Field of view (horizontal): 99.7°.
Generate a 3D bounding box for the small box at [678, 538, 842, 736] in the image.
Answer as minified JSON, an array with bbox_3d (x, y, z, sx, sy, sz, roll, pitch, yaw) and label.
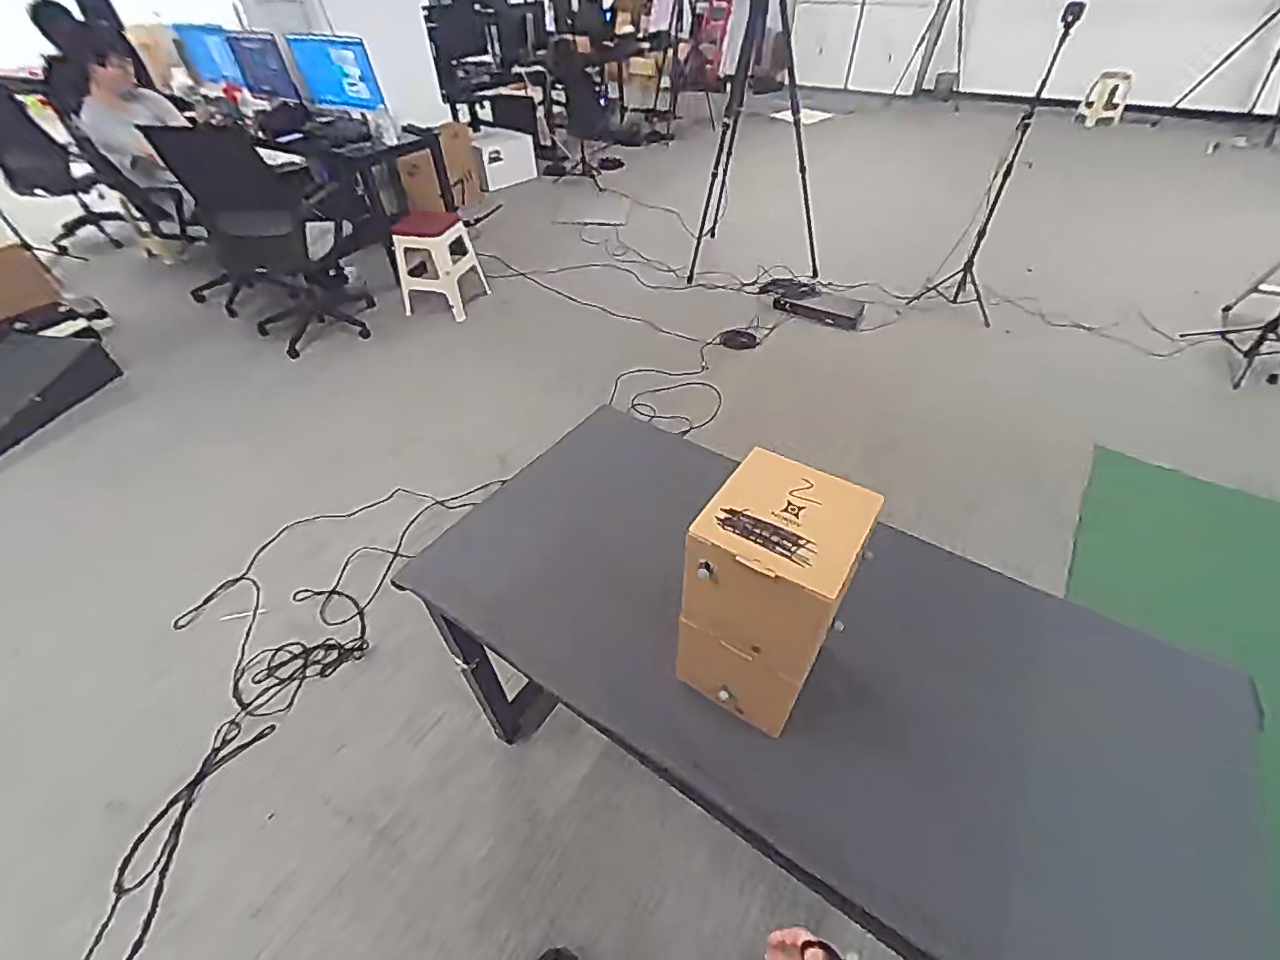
[{"bbox_3d":[0.163,0.222,0.774,0.168,0.176,0.179,24,49,24],"label":"small box"}]
